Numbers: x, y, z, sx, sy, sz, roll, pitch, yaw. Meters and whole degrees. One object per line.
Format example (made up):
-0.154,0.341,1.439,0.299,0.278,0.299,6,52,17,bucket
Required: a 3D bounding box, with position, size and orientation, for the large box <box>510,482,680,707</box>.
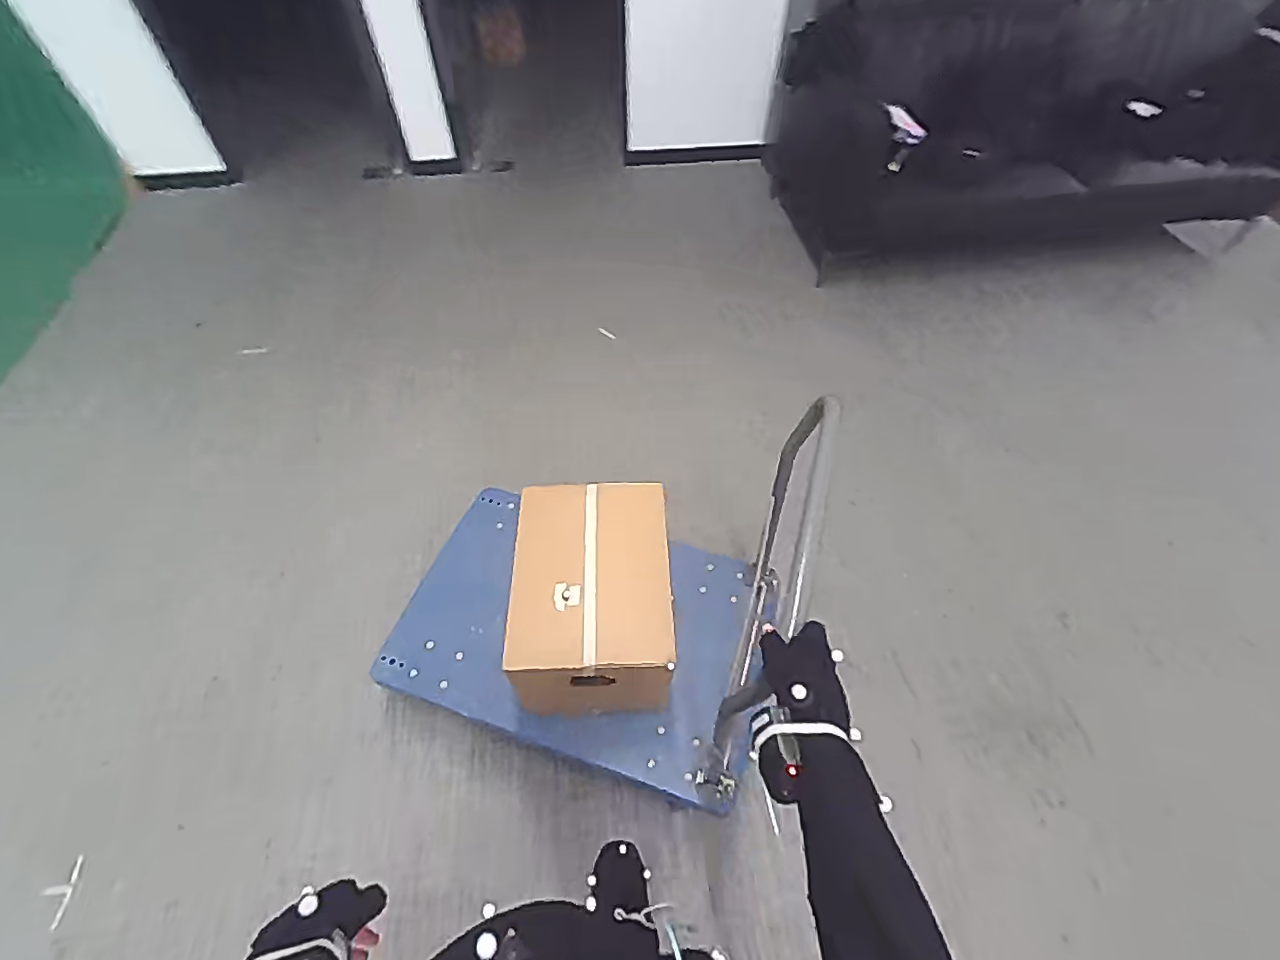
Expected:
-0.093,0.256,1.202,0.320,0.320,0.408,-2,54,-1,large box
